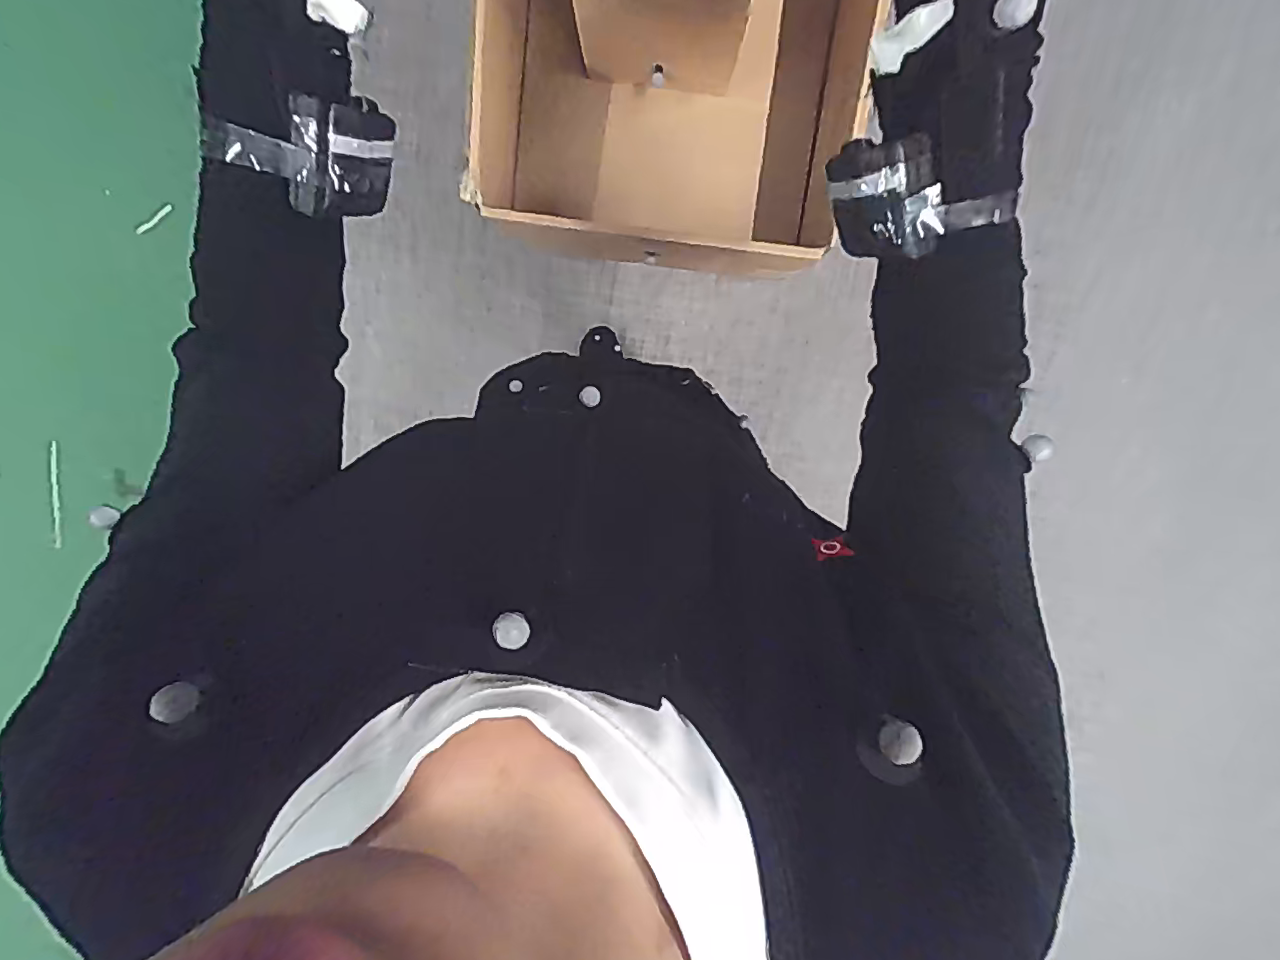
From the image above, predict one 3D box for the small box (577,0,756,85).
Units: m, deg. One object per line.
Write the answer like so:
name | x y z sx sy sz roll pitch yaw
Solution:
small box | 0.032 -0.550 0.564 0.179 0.176 0.168 7 100 -1
